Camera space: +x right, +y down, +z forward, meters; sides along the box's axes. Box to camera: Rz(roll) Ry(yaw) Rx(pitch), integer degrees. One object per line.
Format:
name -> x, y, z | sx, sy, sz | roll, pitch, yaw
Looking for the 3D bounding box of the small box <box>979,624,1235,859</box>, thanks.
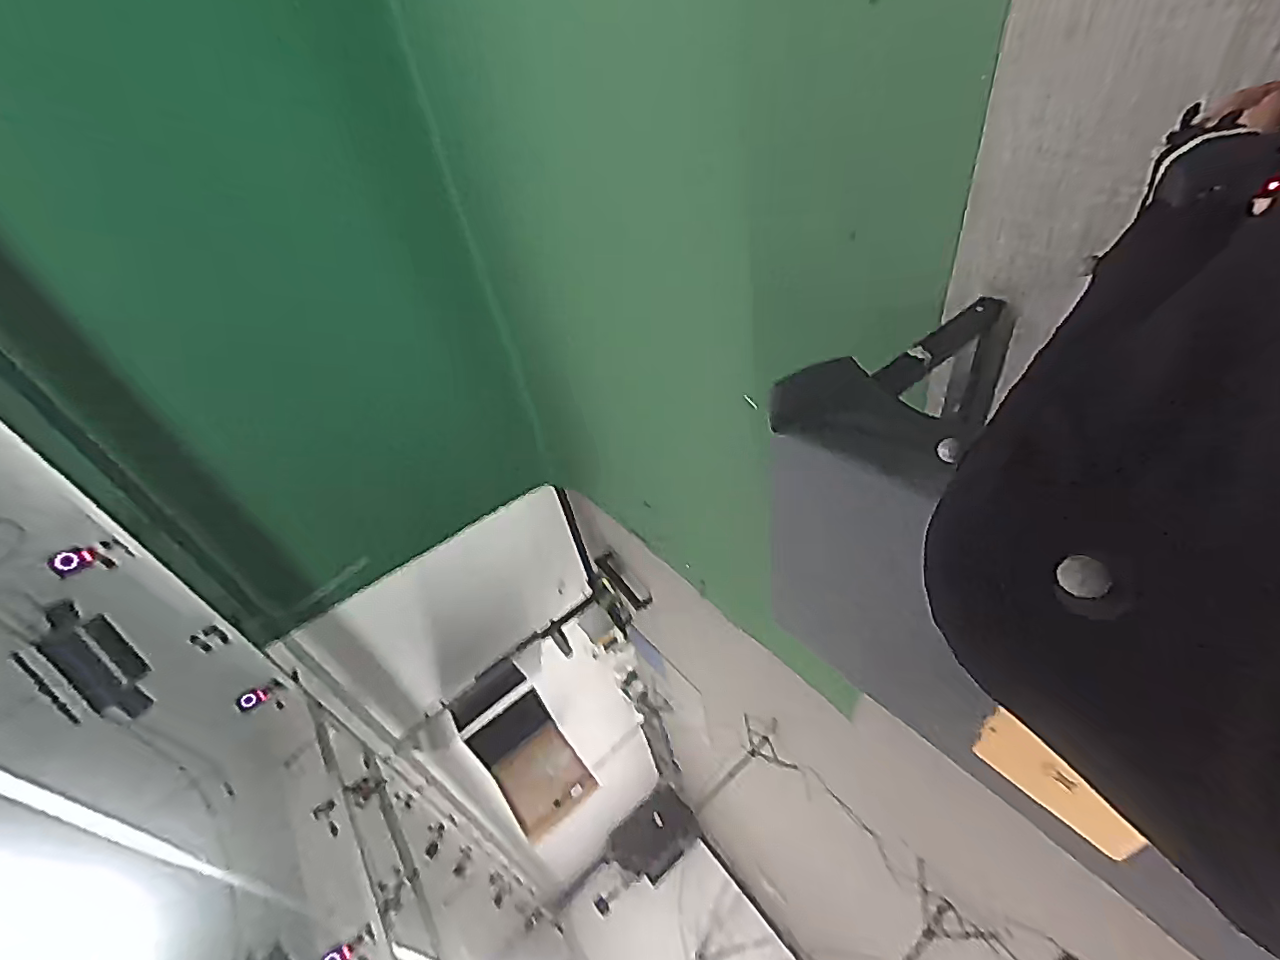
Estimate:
small box -> 0.581, 0.321, 0.686 | 0.179, 0.176, 0.168 | 36, 150, 41
